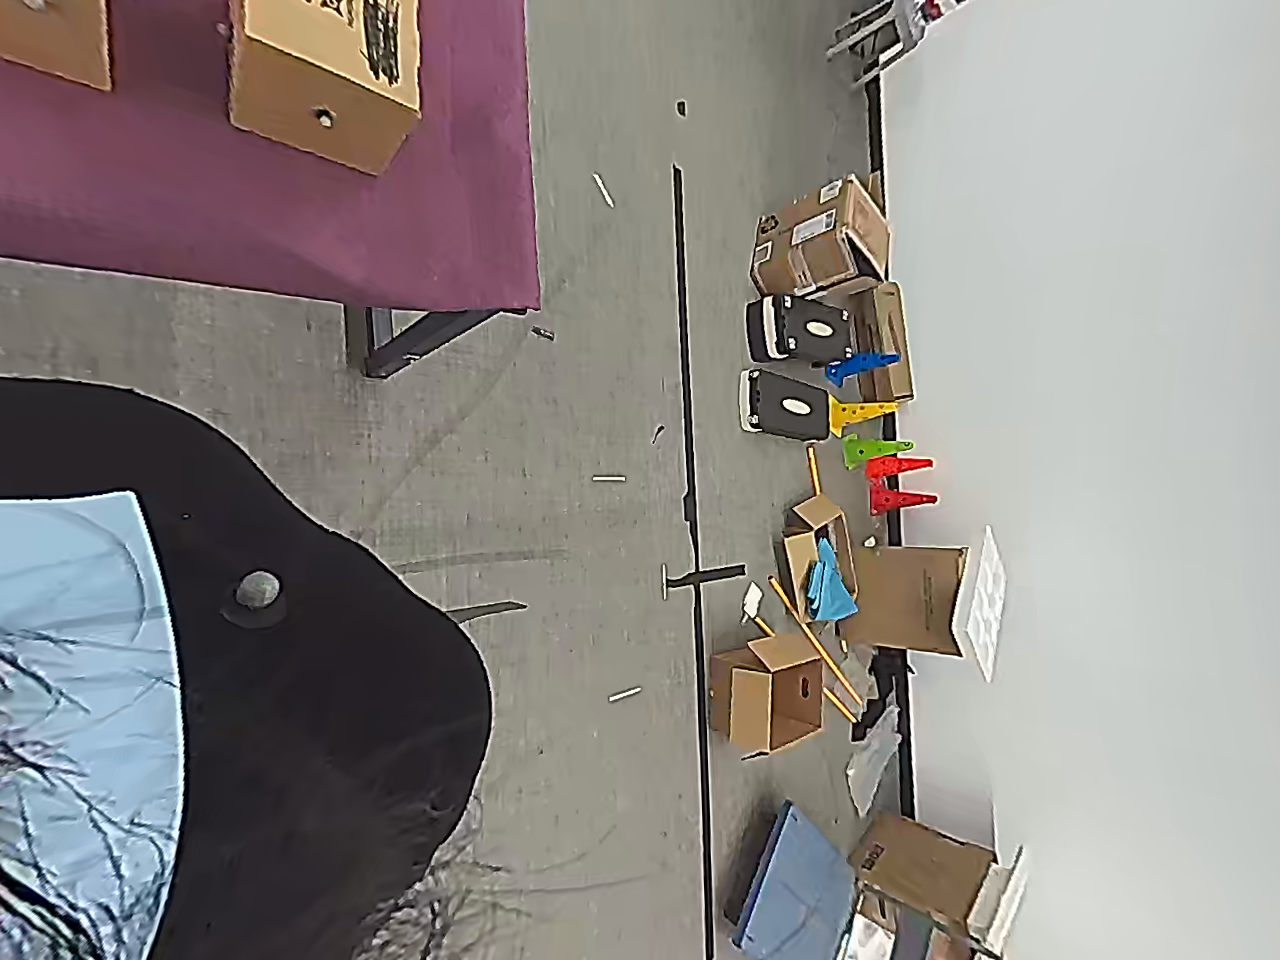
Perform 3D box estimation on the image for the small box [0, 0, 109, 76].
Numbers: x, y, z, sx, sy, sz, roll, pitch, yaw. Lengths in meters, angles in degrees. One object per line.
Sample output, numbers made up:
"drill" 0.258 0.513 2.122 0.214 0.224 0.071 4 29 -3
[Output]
"small box" -0.591 -0.508 0.475 0.179 0.176 0.168 -3 89 -43
